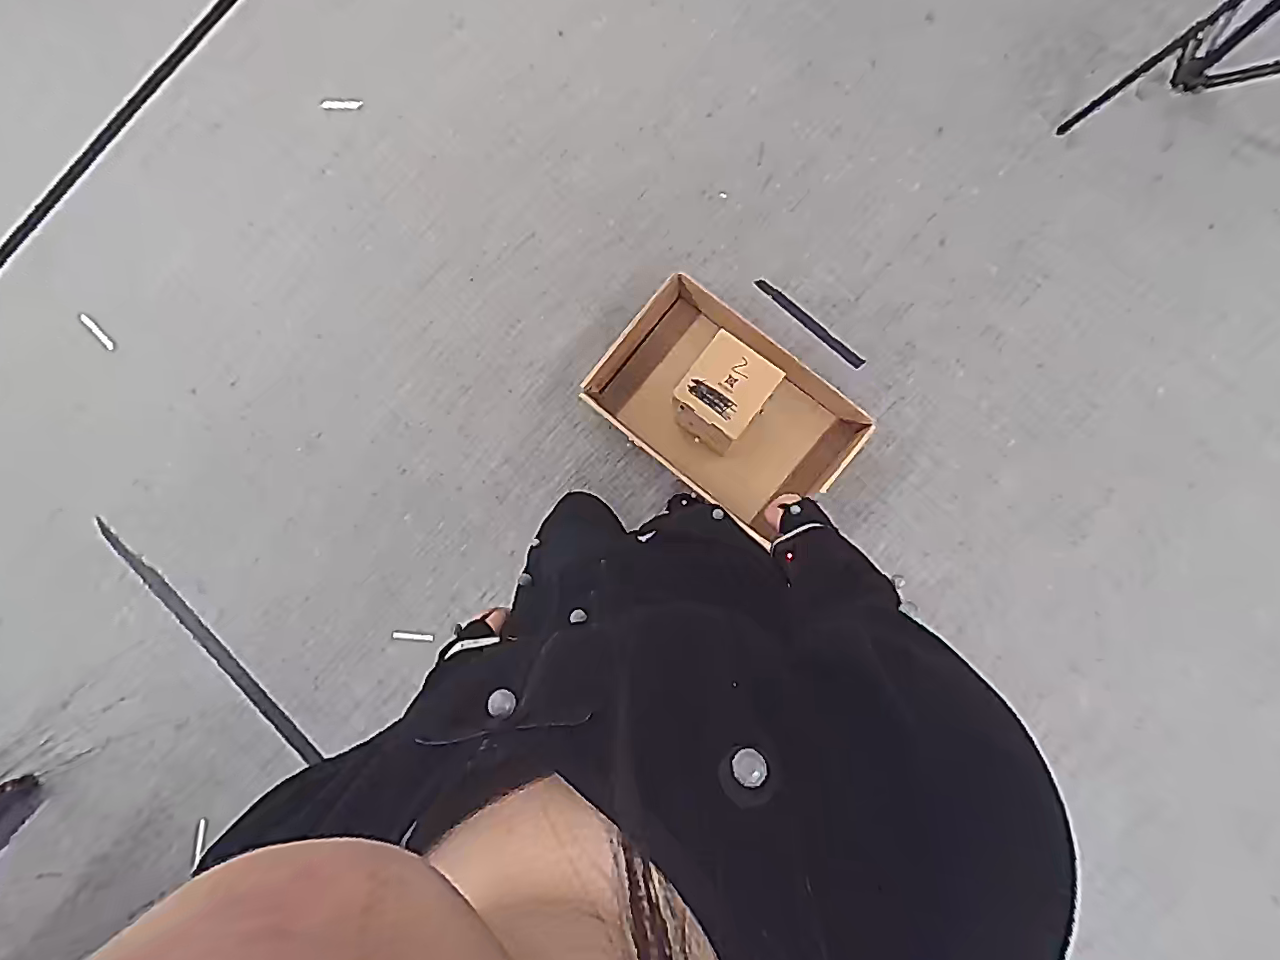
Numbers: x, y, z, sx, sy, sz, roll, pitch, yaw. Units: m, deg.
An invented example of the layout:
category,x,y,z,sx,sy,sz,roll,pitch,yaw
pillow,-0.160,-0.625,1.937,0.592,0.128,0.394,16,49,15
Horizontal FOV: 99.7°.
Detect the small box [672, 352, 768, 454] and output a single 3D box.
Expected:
category,x,y,z,sx,sy,sz,roll,pitch,yaw
small box,0.192,-0.185,1.354,0.168,0.176,0.179,38,90,5
